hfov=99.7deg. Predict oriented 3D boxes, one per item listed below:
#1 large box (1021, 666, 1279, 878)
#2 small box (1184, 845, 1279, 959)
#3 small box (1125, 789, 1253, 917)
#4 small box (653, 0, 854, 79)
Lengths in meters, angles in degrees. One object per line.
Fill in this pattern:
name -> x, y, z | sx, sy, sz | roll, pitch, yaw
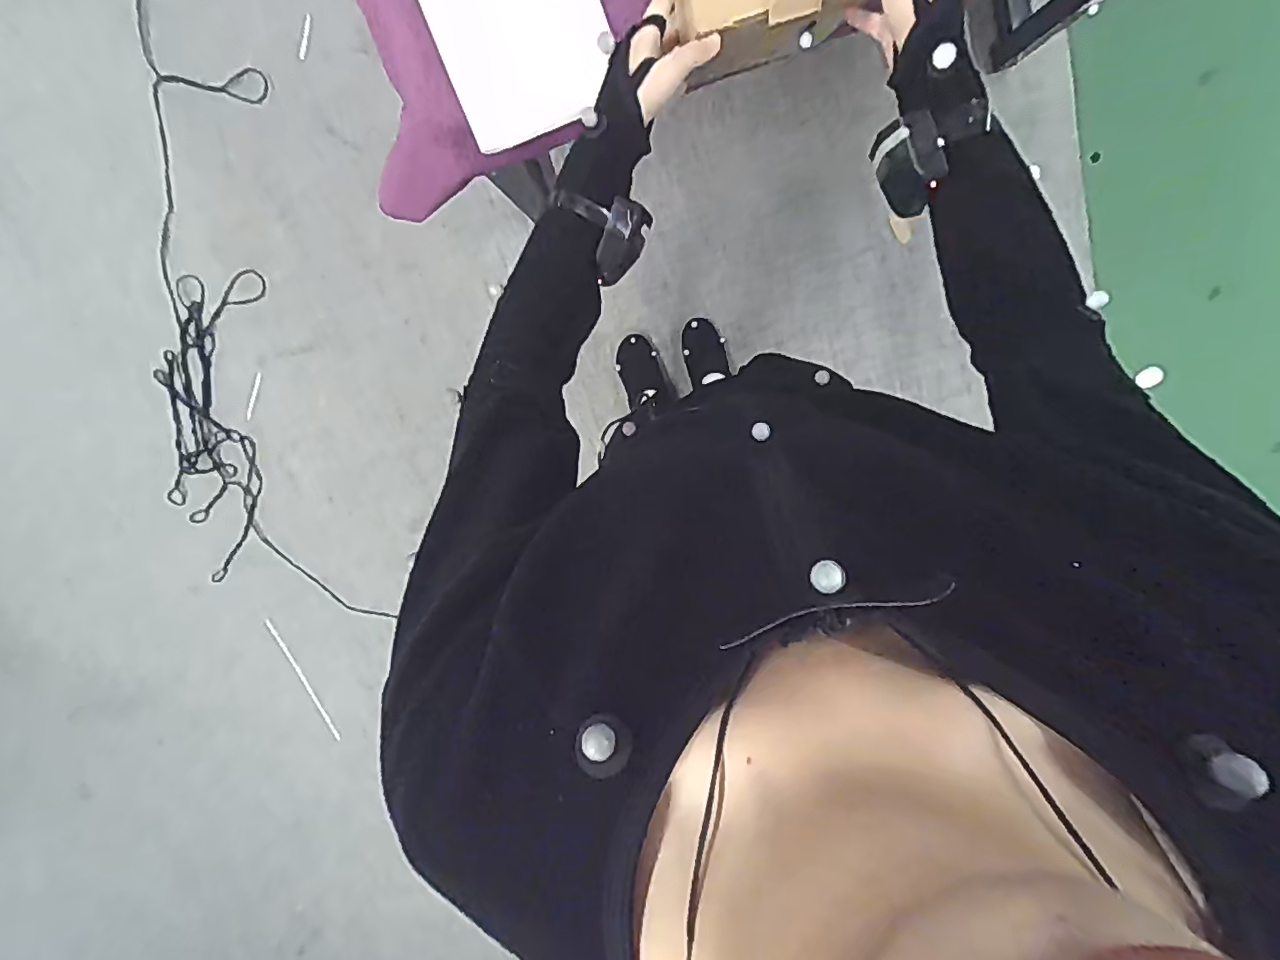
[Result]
large box -> 1.441, 0.824, 1.564 | 0.408, 0.320, 0.320 | -32, 102, 7
small box -> 1.352, 0.952, 1.175 | 0.179, 0.176, 0.168 | -32, 101, 7
small box -> 1.356, 0.914, 1.335 | 0.179, 0.176, 0.168 | -27, 102, 8
small box -> 0.096, -0.491, 0.481 | 0.168, 0.176, 0.179 | -15, 113, 2
